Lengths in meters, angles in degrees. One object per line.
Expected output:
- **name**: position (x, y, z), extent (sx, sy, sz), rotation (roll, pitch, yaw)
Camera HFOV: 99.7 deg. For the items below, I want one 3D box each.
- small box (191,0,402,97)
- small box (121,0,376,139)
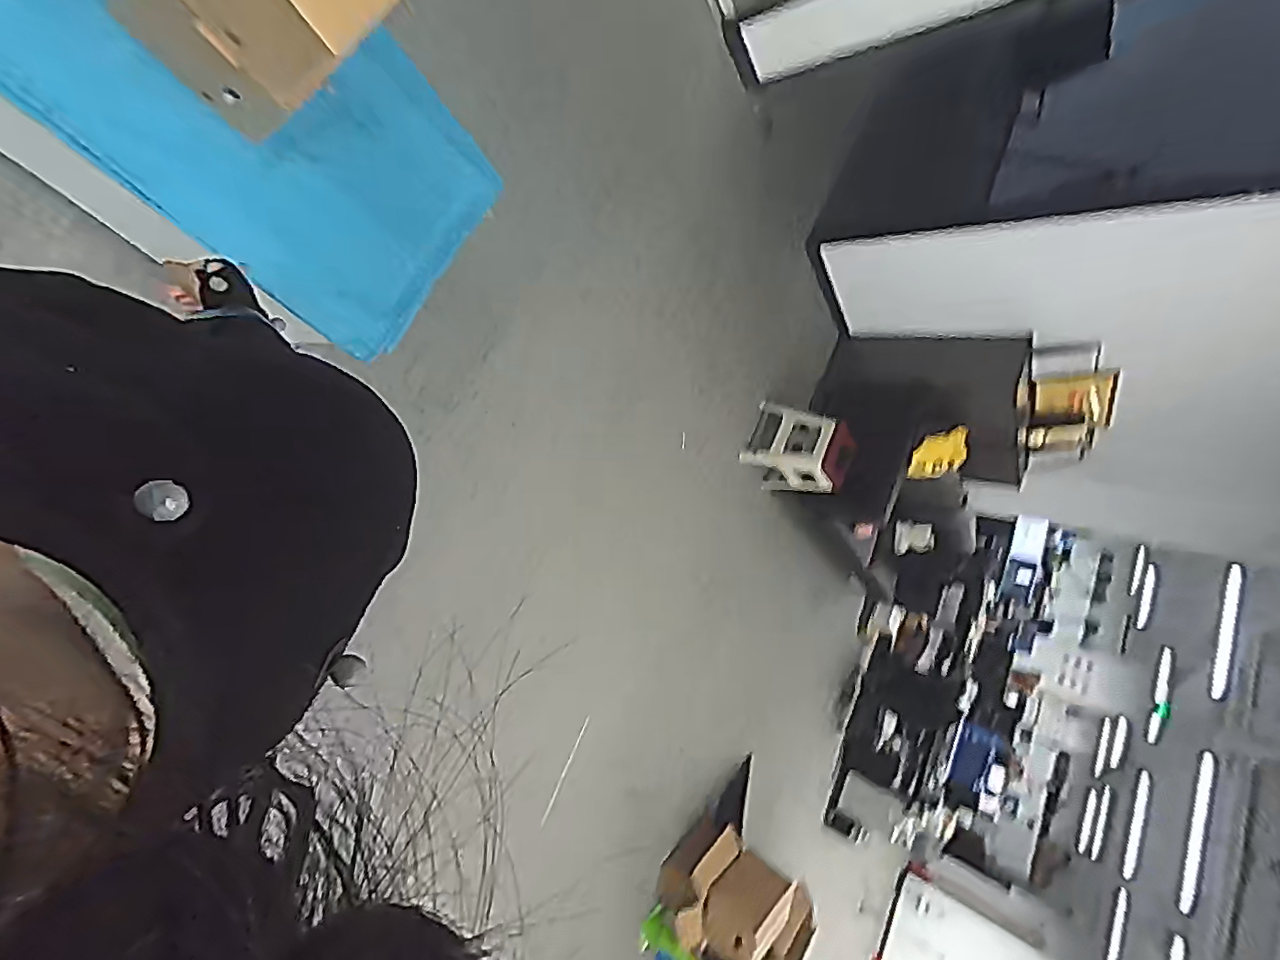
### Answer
- **small box**: position (-0.348, -0.525, 0.533), extent (0.168, 0.176, 0.179), rotation (48, 62, -46)
- **small box**: position (-0.465, -0.547, 0.644), extent (0.168, 0.176, 0.179), rotation (47, 64, -47)
